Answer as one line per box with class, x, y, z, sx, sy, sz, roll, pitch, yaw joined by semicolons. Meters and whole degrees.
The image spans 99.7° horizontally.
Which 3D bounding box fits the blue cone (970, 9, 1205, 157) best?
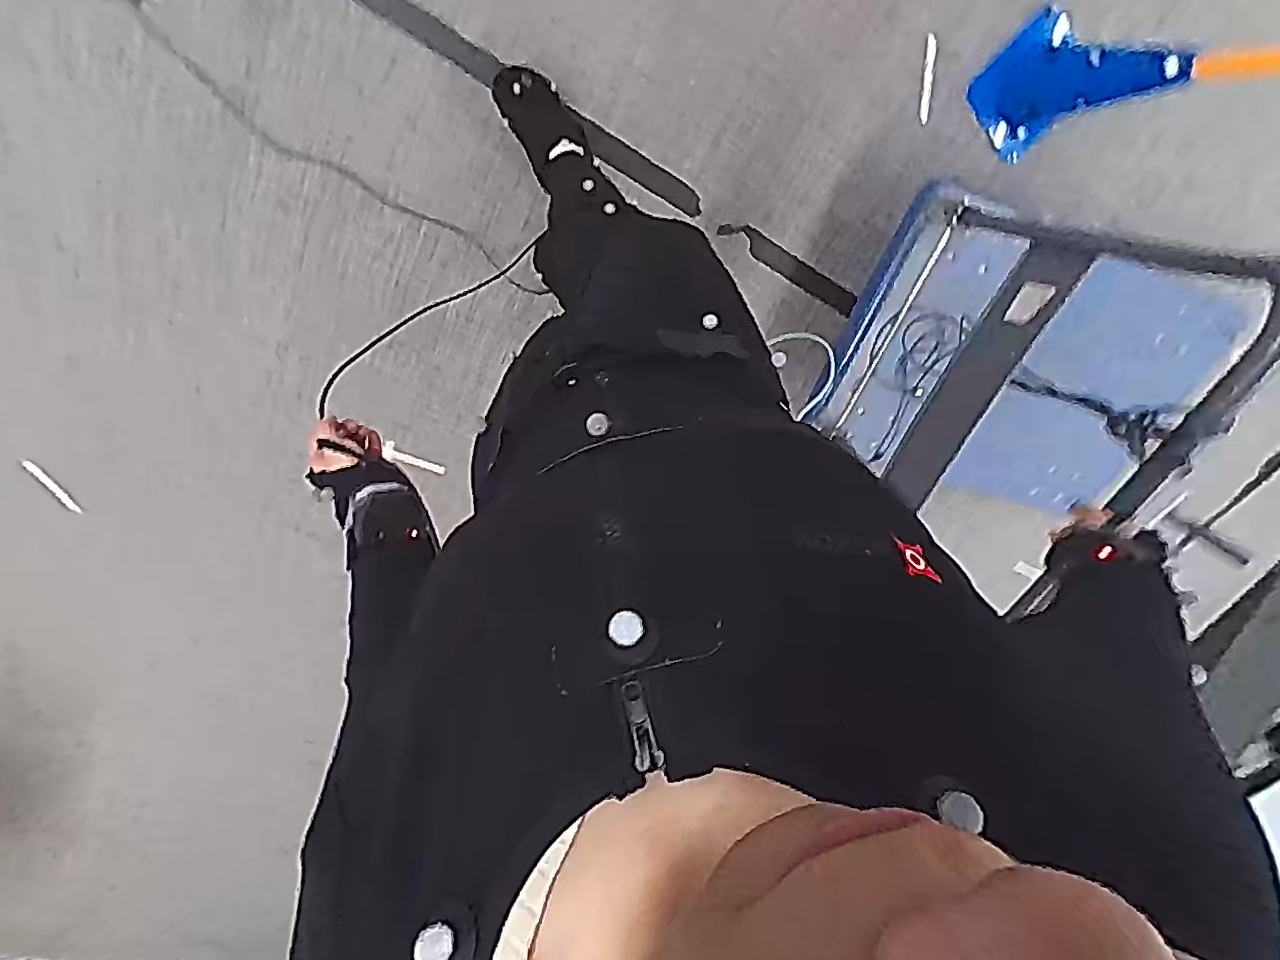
blue cone;0.791;-0.699;0.941;0.192;0.380;0.193;39;110;-24
